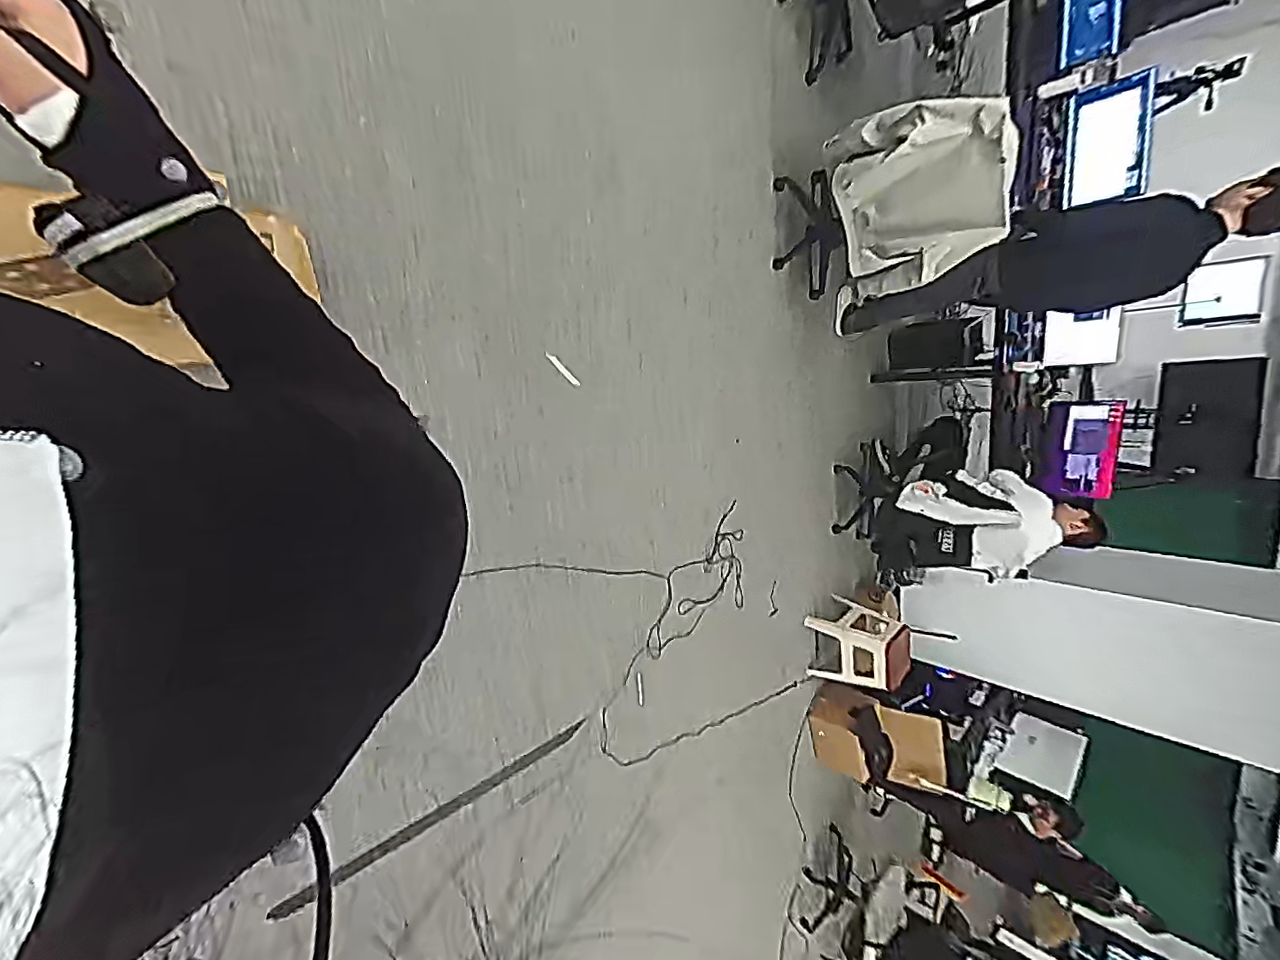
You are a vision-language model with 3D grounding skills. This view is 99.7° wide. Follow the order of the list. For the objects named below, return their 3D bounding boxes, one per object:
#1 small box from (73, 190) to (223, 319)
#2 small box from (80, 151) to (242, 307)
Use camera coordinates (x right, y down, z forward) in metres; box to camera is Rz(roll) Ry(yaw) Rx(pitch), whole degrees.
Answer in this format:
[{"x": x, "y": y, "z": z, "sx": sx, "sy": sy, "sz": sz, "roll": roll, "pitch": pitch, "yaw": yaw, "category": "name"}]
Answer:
[{"x": -0.884, "y": -0.394, "z": 0.976, "sx": 0.168, "sy": 0.176, "sz": 0.179, "roll": -17, "pitch": 106, "yaw": -42, "category": "small box"}, {"x": -0.764, "y": -0.385, "z": 0.864, "sx": 0.168, "sy": 0.176, "sz": 0.179, "roll": -12, "pitch": 103, "yaw": -43, "category": "small box"}]
